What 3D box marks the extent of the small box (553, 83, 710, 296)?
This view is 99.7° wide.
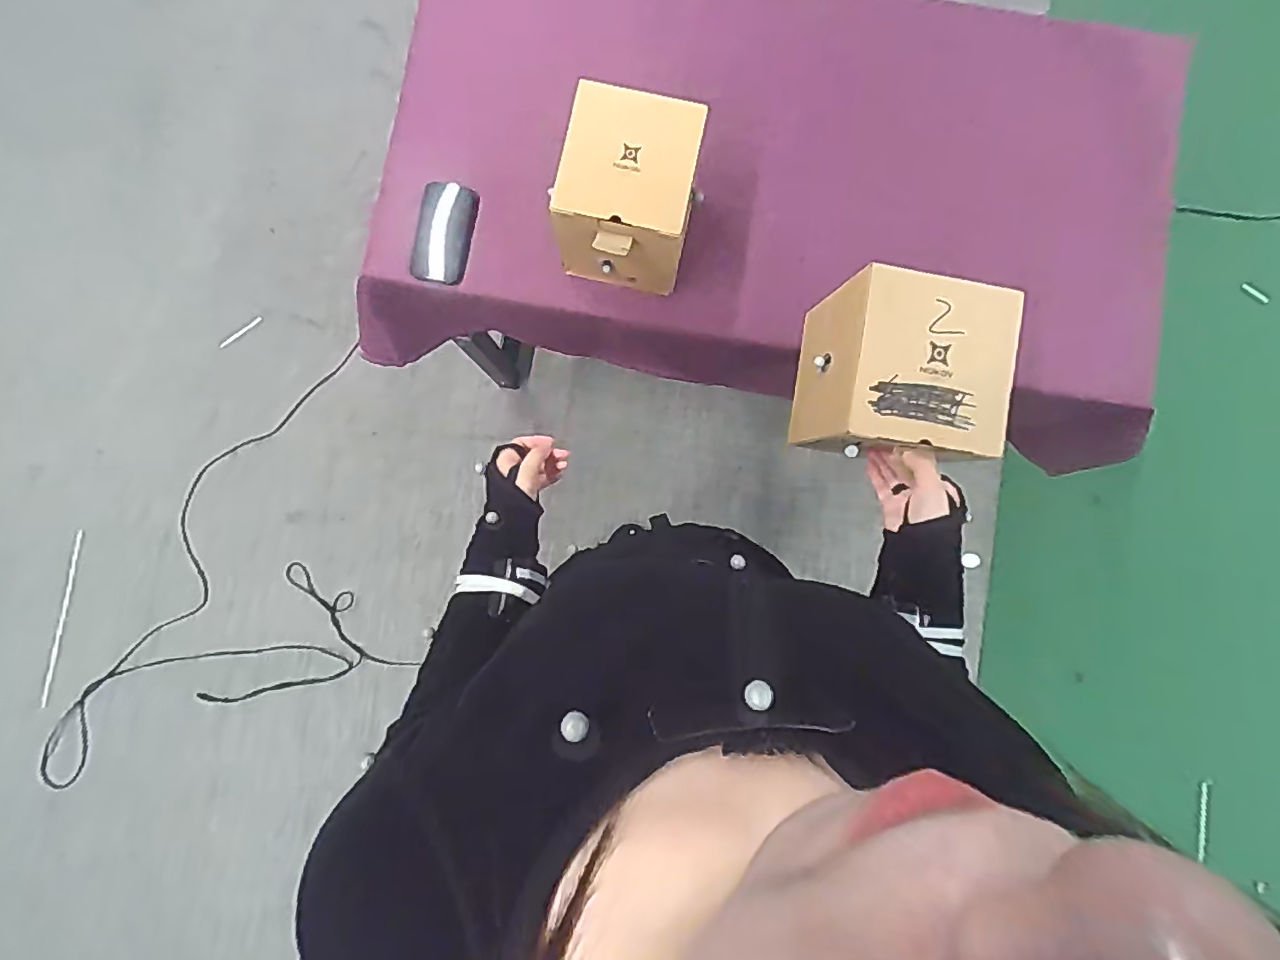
[{"bbox_3d":[-0.013,-0.384,0.742,0.168,0.176,0.179,13,85,-1],"label":"small box"}]
